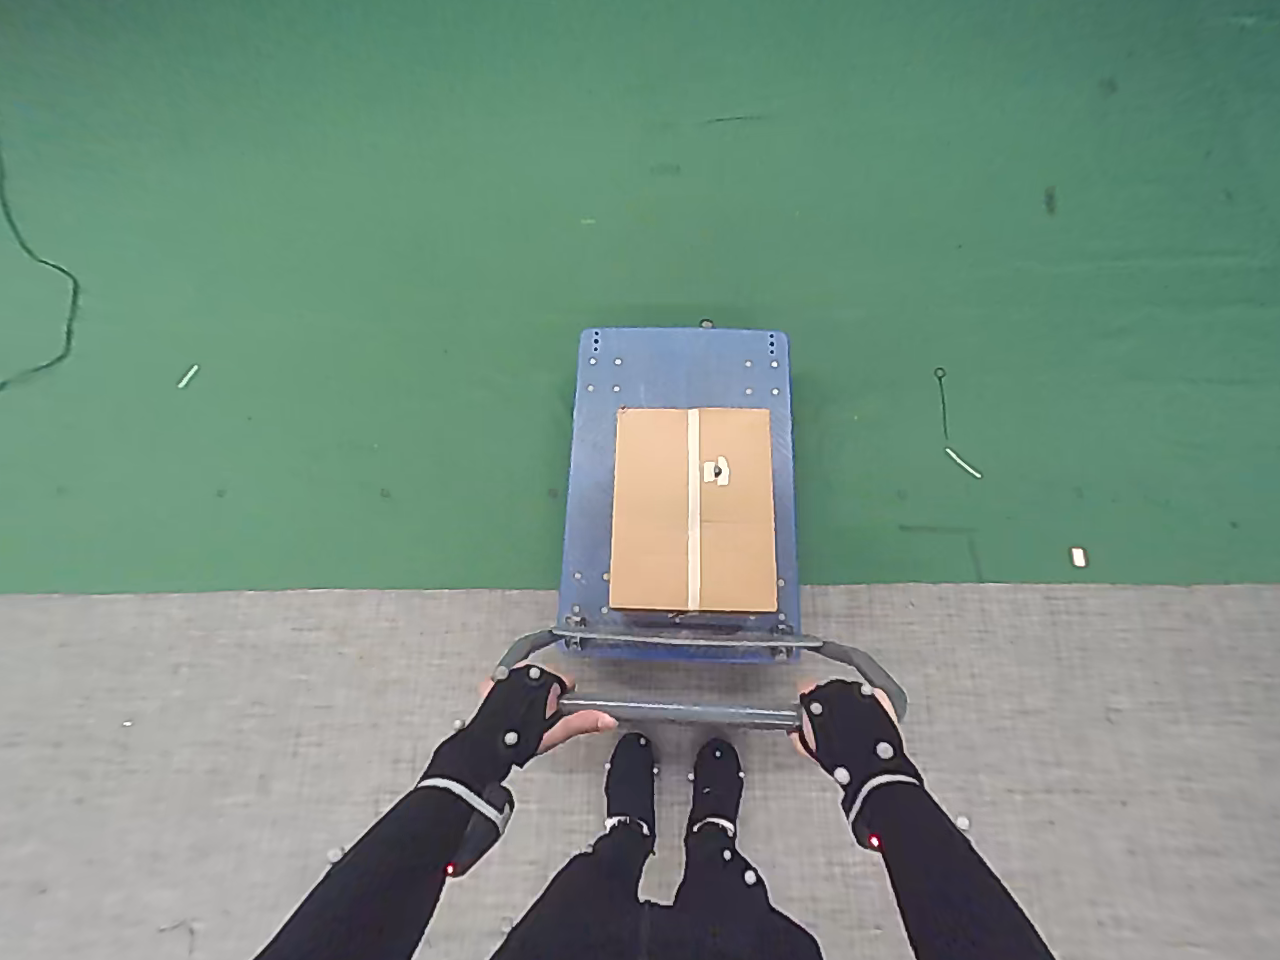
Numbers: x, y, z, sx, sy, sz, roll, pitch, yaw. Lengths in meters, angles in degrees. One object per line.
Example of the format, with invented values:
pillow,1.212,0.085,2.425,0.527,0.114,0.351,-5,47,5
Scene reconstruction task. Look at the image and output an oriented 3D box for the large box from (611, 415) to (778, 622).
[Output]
large box,0.112,0.101,1.197,0.320,0.320,0.408,1,73,2
